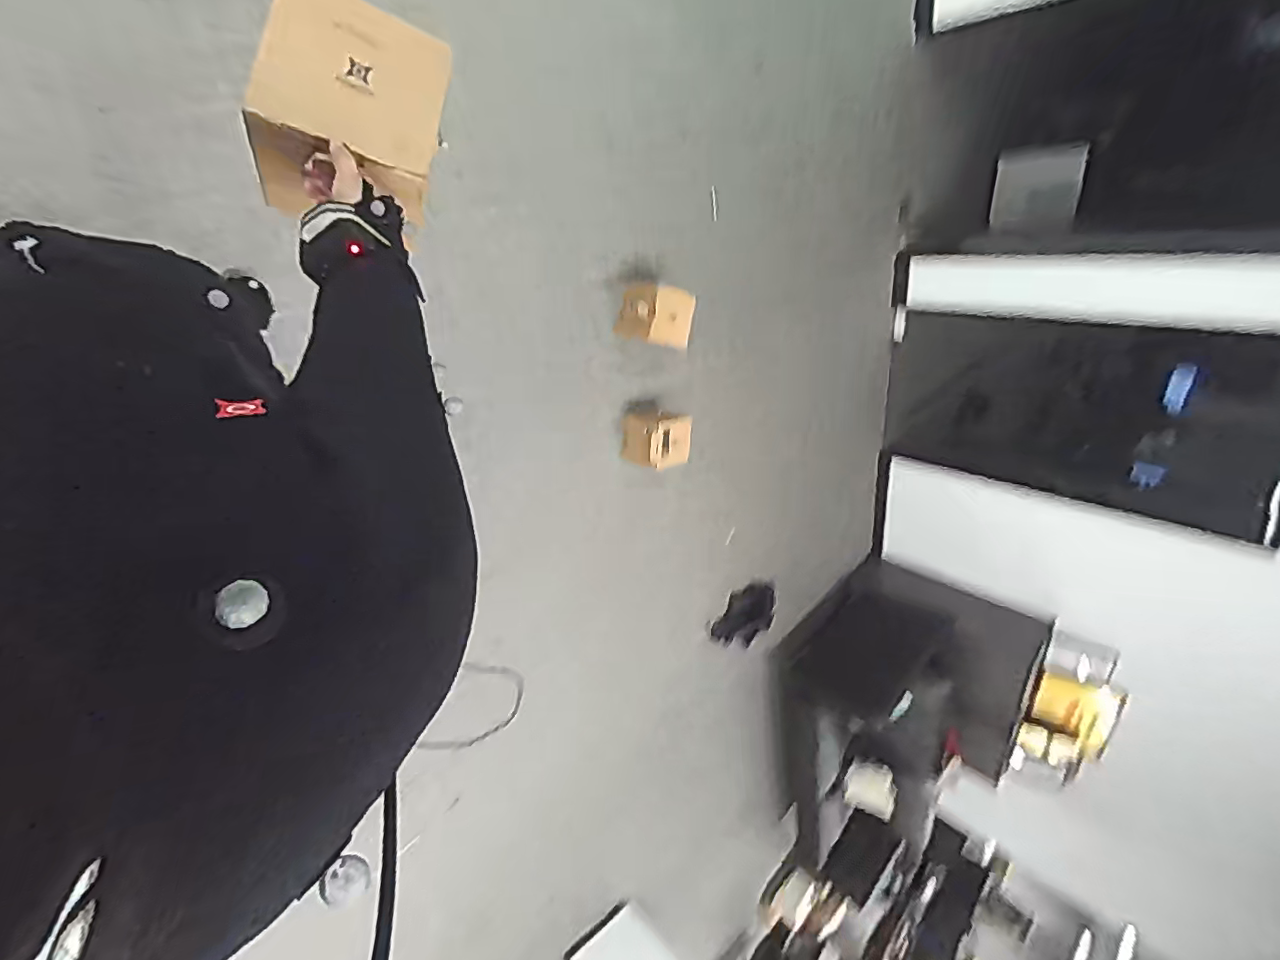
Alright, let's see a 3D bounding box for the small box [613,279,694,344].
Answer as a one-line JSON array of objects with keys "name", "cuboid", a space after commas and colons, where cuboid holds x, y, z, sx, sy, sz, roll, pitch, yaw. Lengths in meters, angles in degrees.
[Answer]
[{"name": "small box", "cuboid": [0.041, -0.539, 1.725, 0.179, 0.176, 0.168, -3, 109, -44]}]
